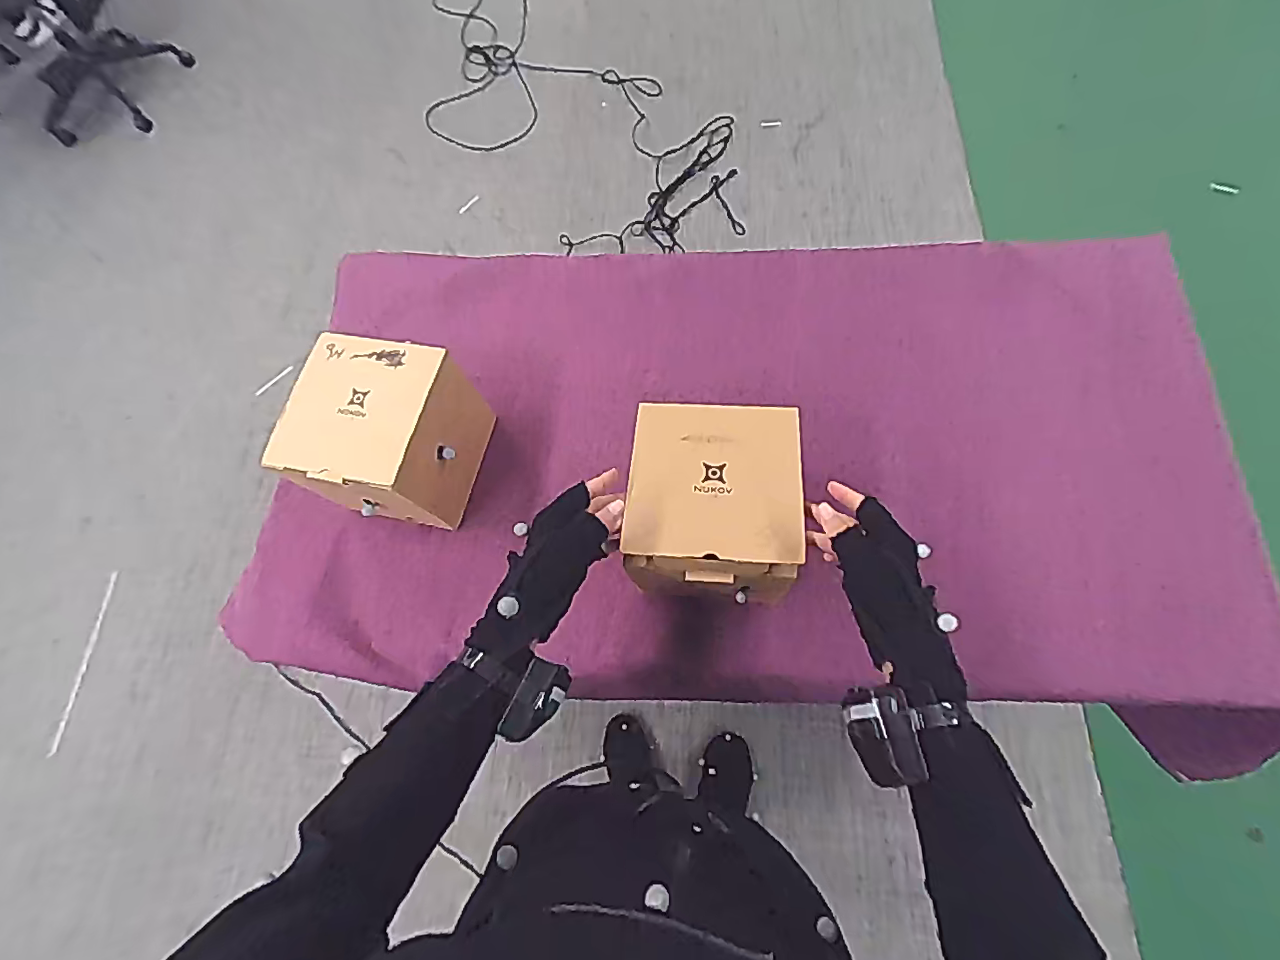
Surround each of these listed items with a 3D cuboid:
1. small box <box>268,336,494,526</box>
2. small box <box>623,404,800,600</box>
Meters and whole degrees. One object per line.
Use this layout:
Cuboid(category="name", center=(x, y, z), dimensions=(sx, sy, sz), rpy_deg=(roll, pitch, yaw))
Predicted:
Cuboid(category="small box", center=(-0.305, -0.053, 0.680), dimensions=(0.168, 0.176, 0.179), rpy_deg=(10, 71, 10))
Cuboid(category="small box", center=(0.082, 0.033, 0.605), dimensions=(0.168, 0.176, 0.179), rpy_deg=(3, 70, 7))
